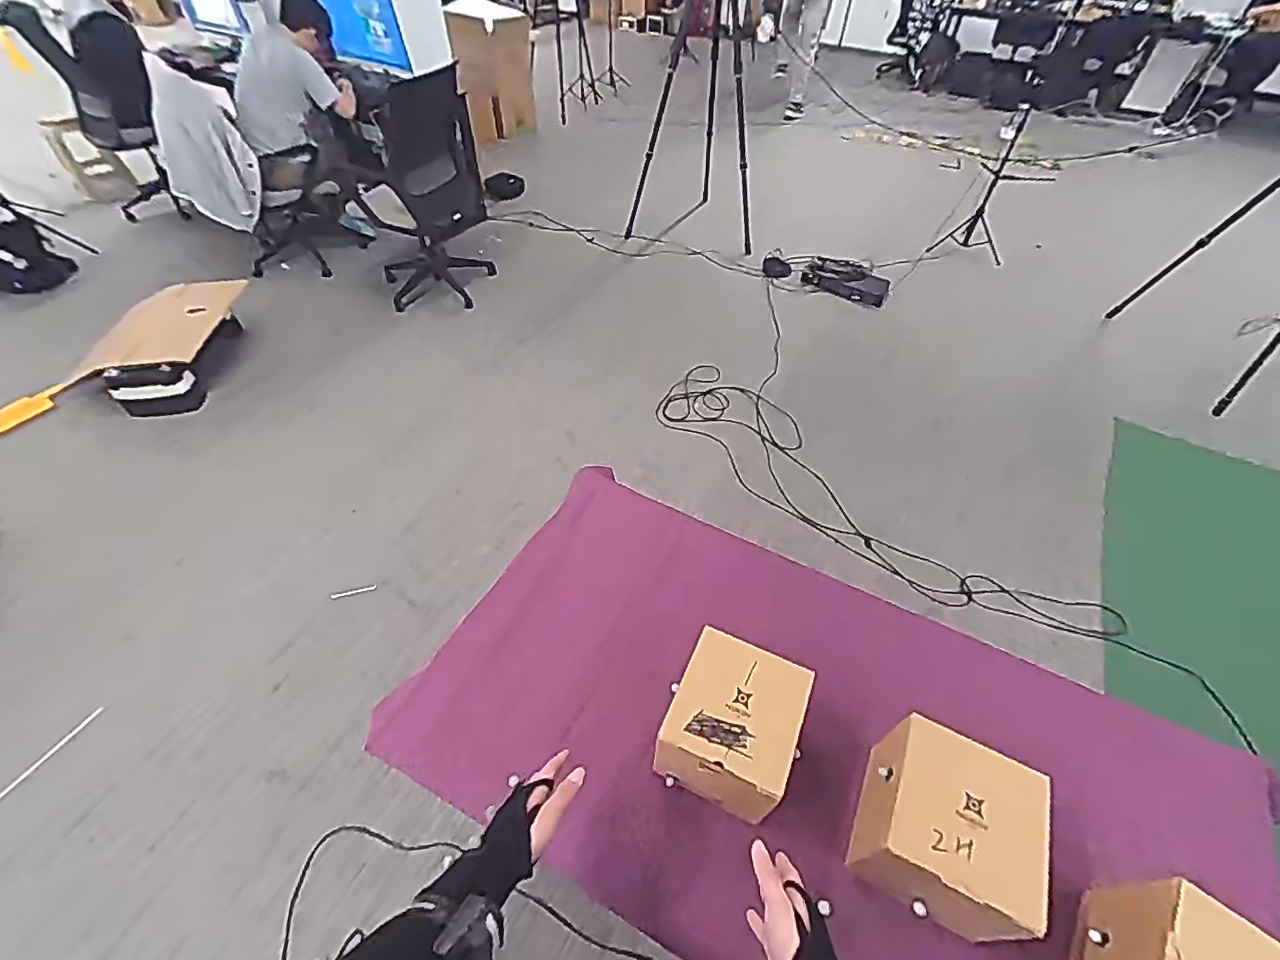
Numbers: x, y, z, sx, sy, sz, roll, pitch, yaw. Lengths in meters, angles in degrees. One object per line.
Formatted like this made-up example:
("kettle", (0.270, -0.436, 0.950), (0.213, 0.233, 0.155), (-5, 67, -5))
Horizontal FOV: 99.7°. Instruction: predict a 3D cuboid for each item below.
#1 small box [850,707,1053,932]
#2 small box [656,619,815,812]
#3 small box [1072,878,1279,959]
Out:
("small box", (0.391, 0.436, 0.697), (0.168, 0.176, 0.179), (23, 53, 19))
("small box", (0.131, 0.340, 0.775), (0.168, 0.176, 0.179), (21, 51, 16))
("small box", (0.613, 0.576, 0.581), (0.179, 0.176, 0.168), (32, 56, 26))
